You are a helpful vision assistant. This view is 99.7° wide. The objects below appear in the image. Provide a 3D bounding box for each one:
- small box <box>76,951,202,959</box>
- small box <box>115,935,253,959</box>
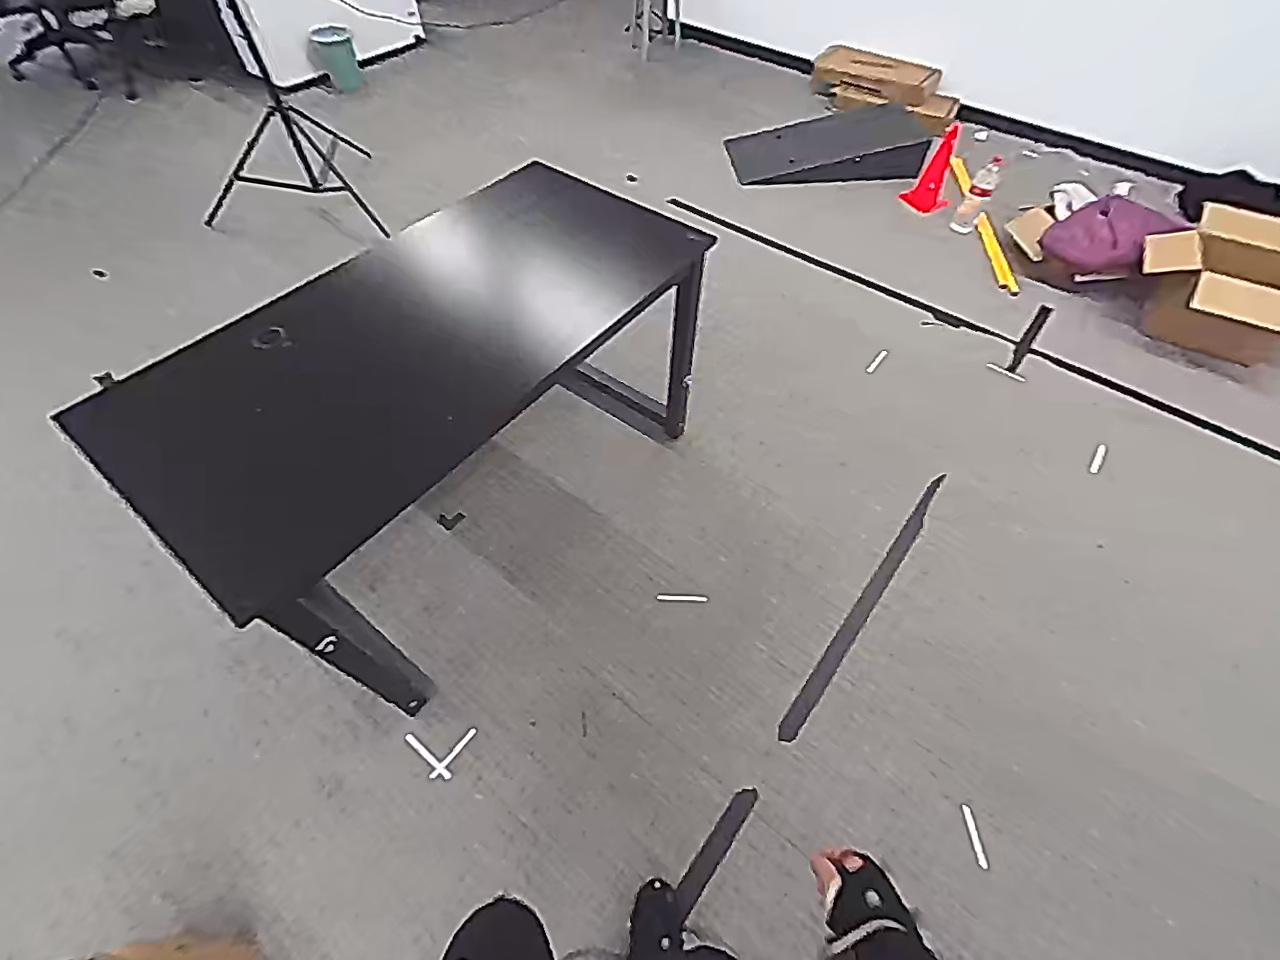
[{"bbox_3d":[-0.871,0.878,0.865,0.179,0.176,0.168,2,57,-1],"label":"small box"},{"bbox_3d":[-0.875,0.967,1.001,0.179,0.176,0.168,5,55,3],"label":"small box"}]
